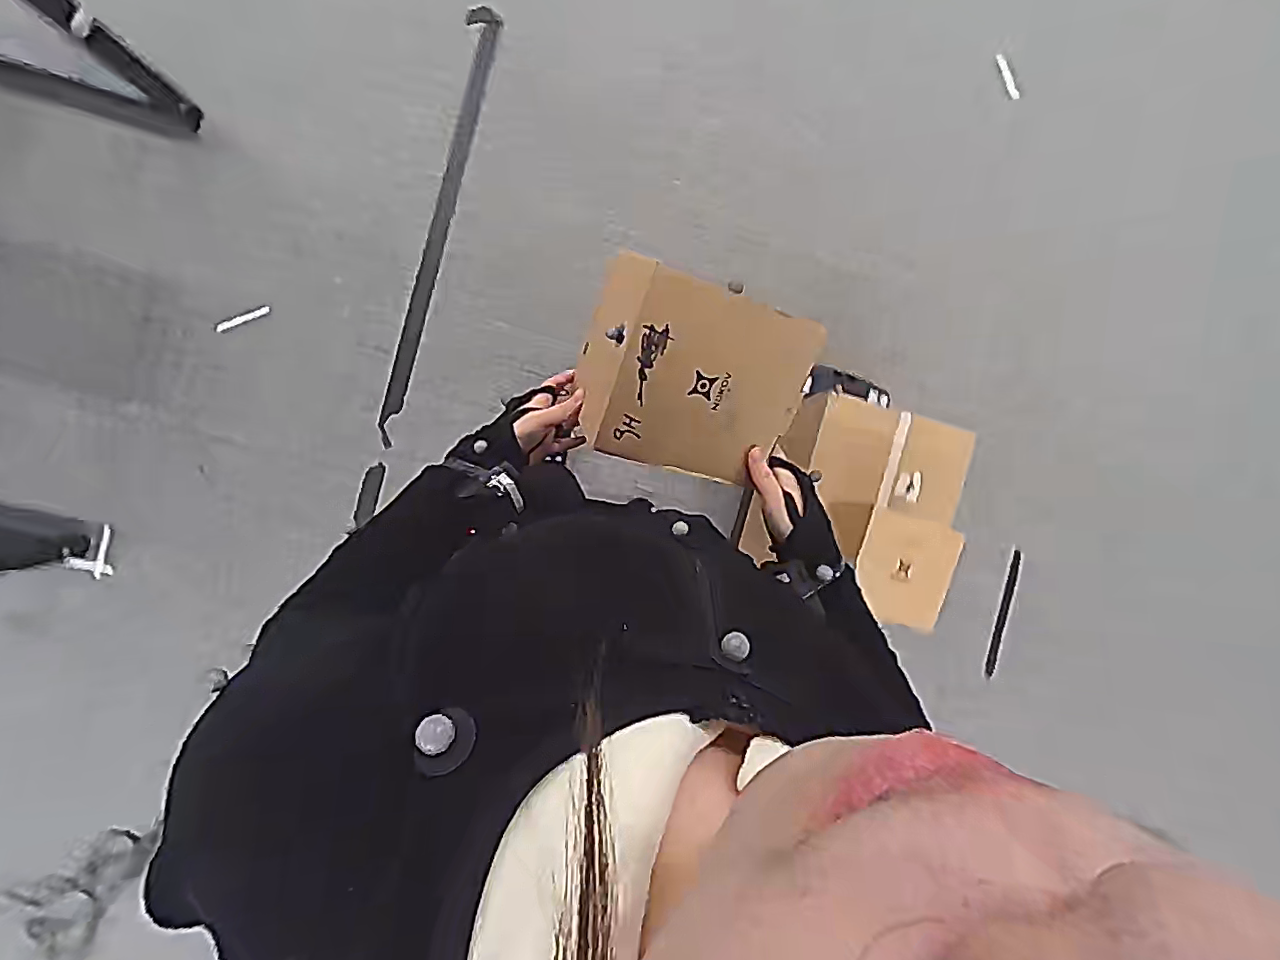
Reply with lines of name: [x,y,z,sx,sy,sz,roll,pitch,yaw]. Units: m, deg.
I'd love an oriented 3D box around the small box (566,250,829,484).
small box: [0.040,-0.117,0.532,0.179,0.176,0.168,12,110,-21]

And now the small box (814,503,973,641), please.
small box: [0.426,0.150,0.941,0.168,0.176,0.179,20,90,-4]

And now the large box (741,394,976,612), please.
large box: [0.448,0.063,1.186,0.320,0.320,0.408,16,90,-5]
